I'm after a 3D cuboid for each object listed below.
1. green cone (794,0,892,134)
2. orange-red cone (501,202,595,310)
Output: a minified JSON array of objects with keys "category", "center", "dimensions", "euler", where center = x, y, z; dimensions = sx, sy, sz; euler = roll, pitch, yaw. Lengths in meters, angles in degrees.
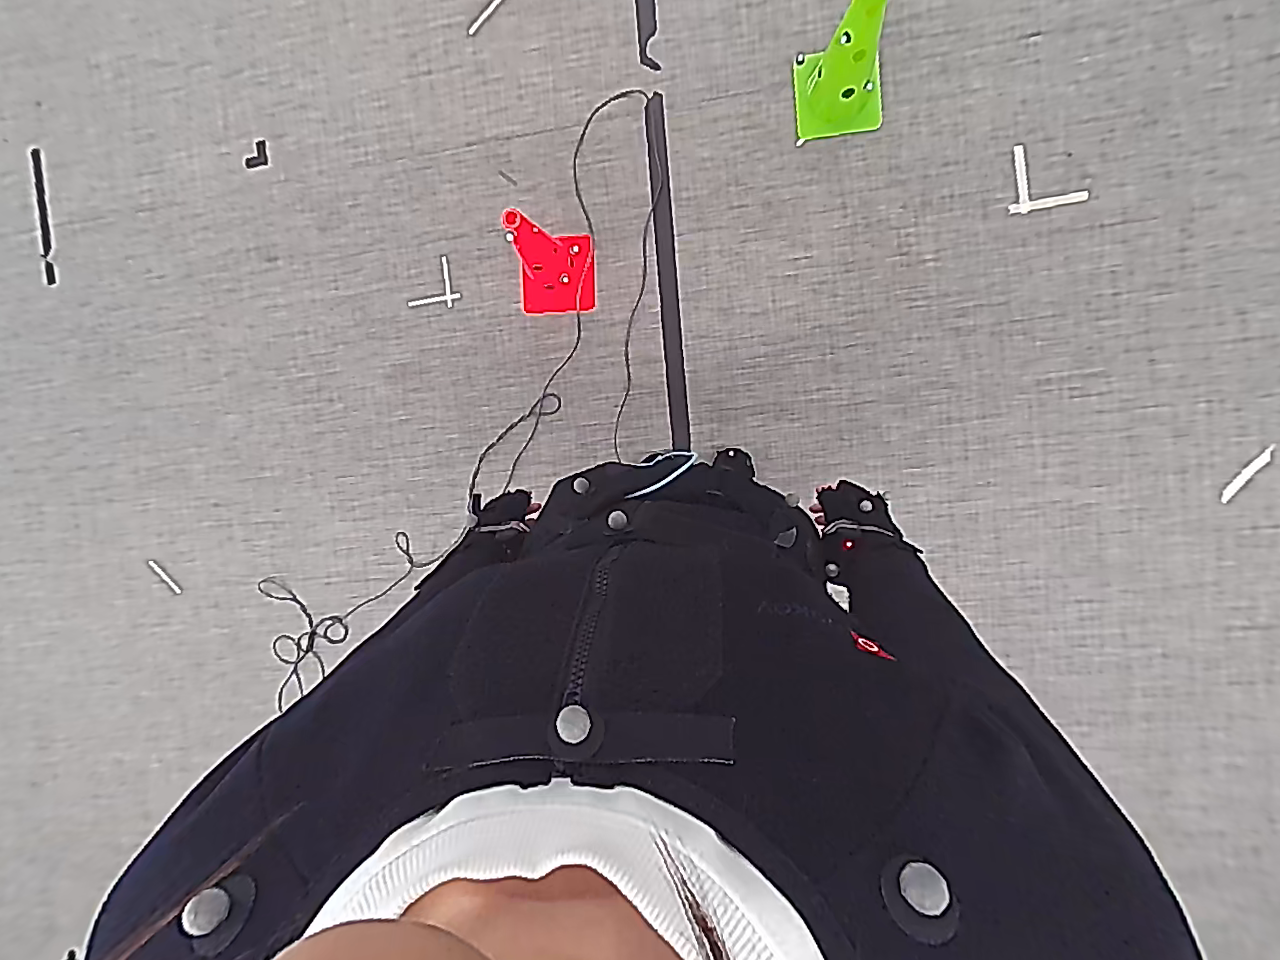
[{"category":"green cone","center":[0.461,-0.939,1.138],"dimensions":[0.202,0.368,0.200],"euler":[-5,93,6]},{"category":"orange-red cone","center":[-0.240,-0.543,1.255],"dimensions":[0.199,0.360,0.198],"euler":[0,92,8]}]
